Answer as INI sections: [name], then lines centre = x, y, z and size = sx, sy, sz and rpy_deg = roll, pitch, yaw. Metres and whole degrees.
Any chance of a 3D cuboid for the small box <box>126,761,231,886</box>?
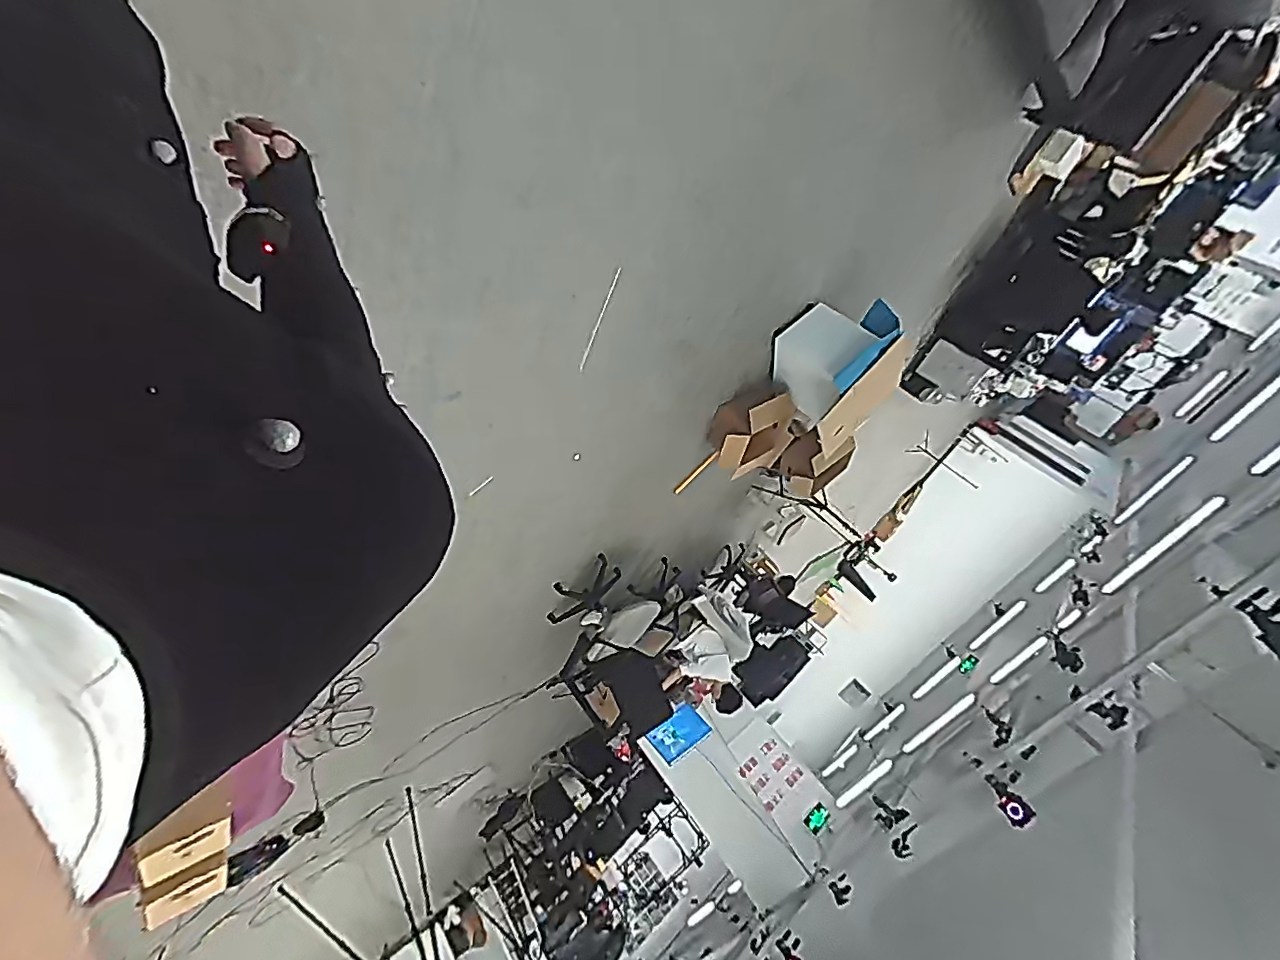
[small box]
centre = -1.109, 0.815, 1.302
size = 0.168, 0.176, 0.179
rpy_deg = -11, 140, -46
